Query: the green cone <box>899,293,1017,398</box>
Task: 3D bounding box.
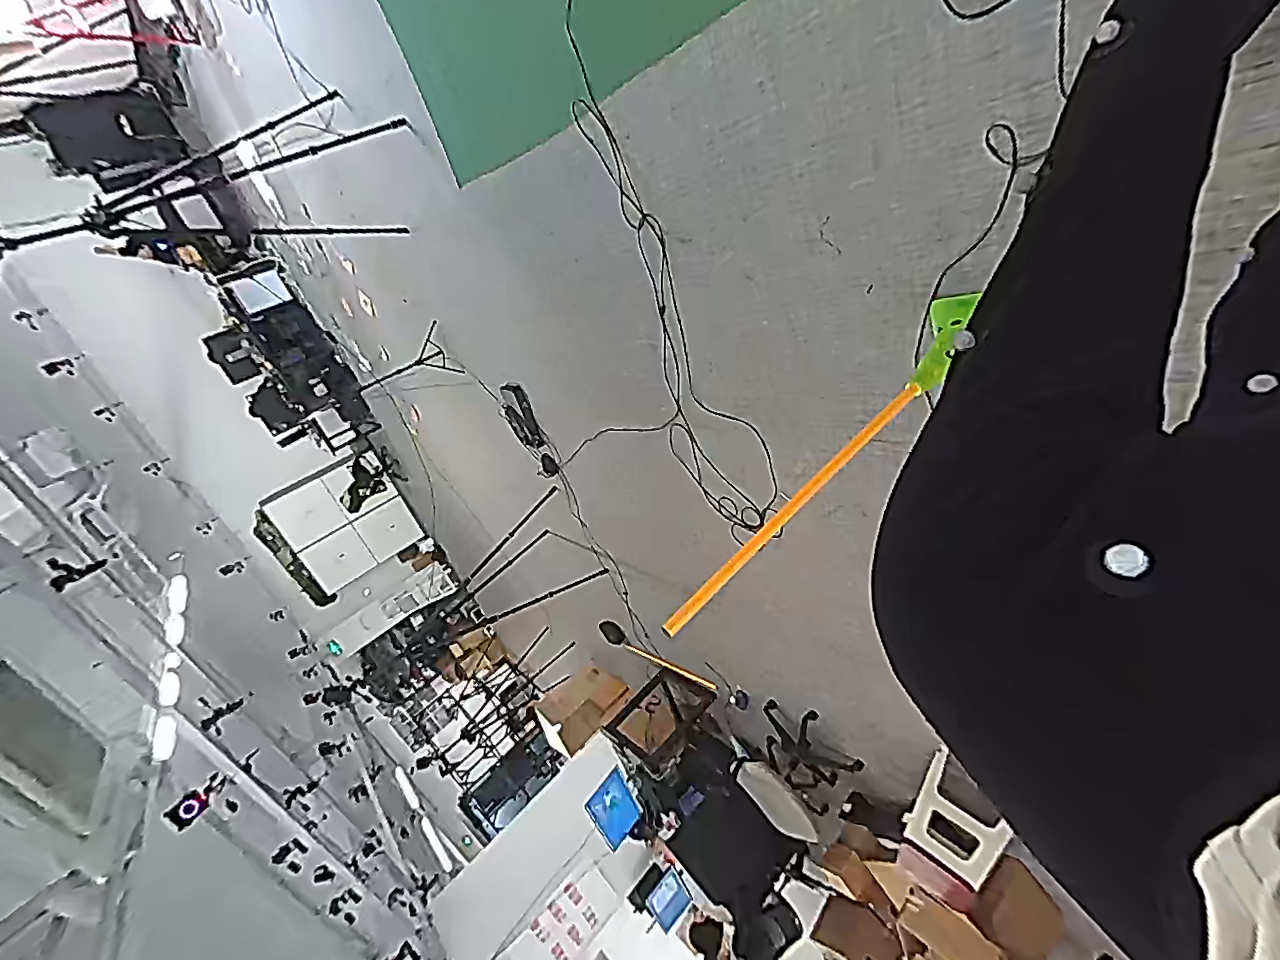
[{"bbox_3d":[0.778,-0.311,1.387,0.202,0.368,0.200,10,129,54],"label":"green cone"}]
